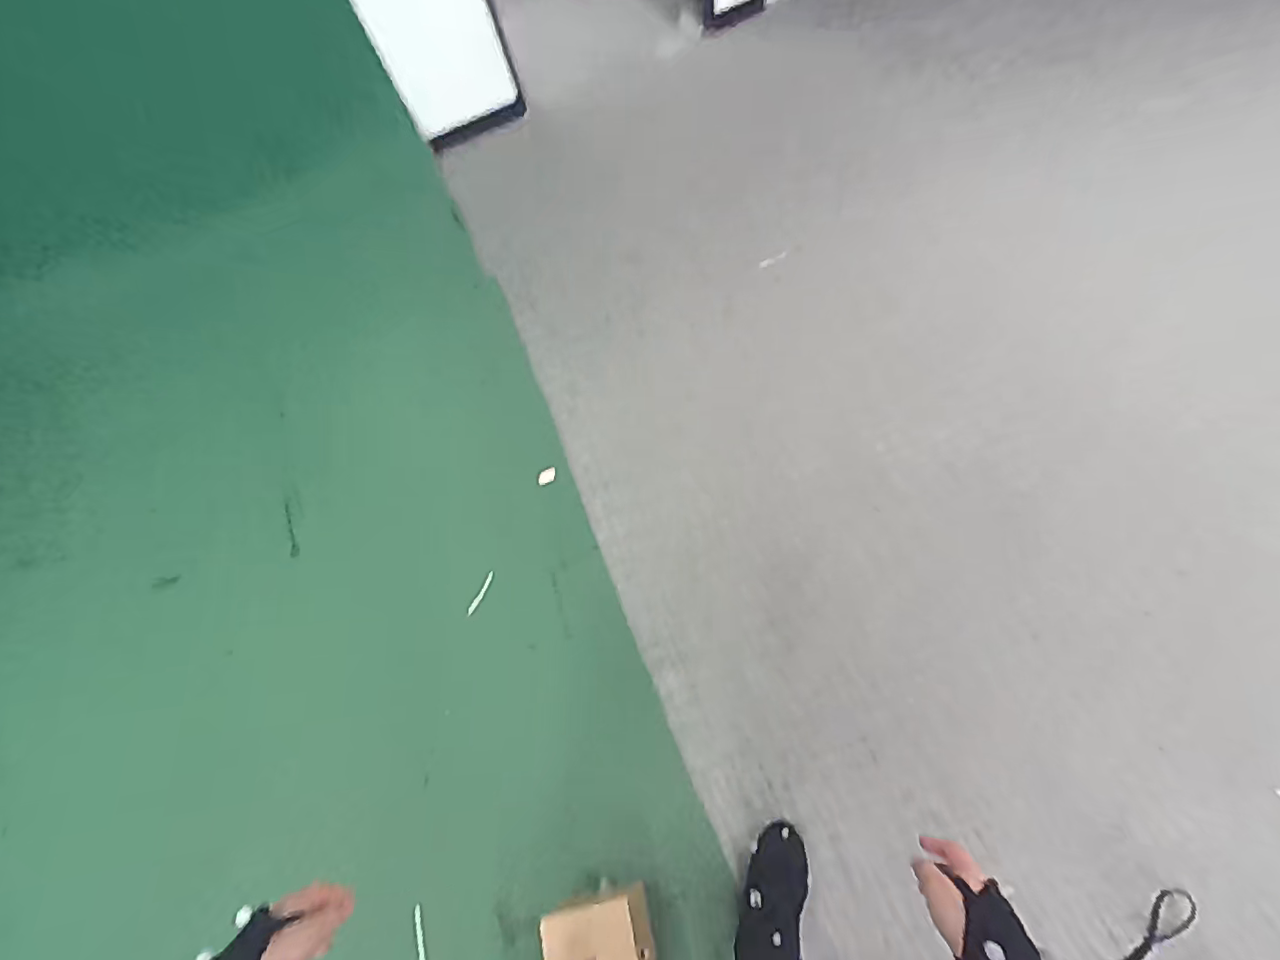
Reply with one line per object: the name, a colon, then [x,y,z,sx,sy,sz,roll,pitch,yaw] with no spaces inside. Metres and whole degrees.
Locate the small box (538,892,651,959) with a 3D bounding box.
small box: [-0.072,0.883,0.977,0.168,0.176,0.179,-16,59,1]
